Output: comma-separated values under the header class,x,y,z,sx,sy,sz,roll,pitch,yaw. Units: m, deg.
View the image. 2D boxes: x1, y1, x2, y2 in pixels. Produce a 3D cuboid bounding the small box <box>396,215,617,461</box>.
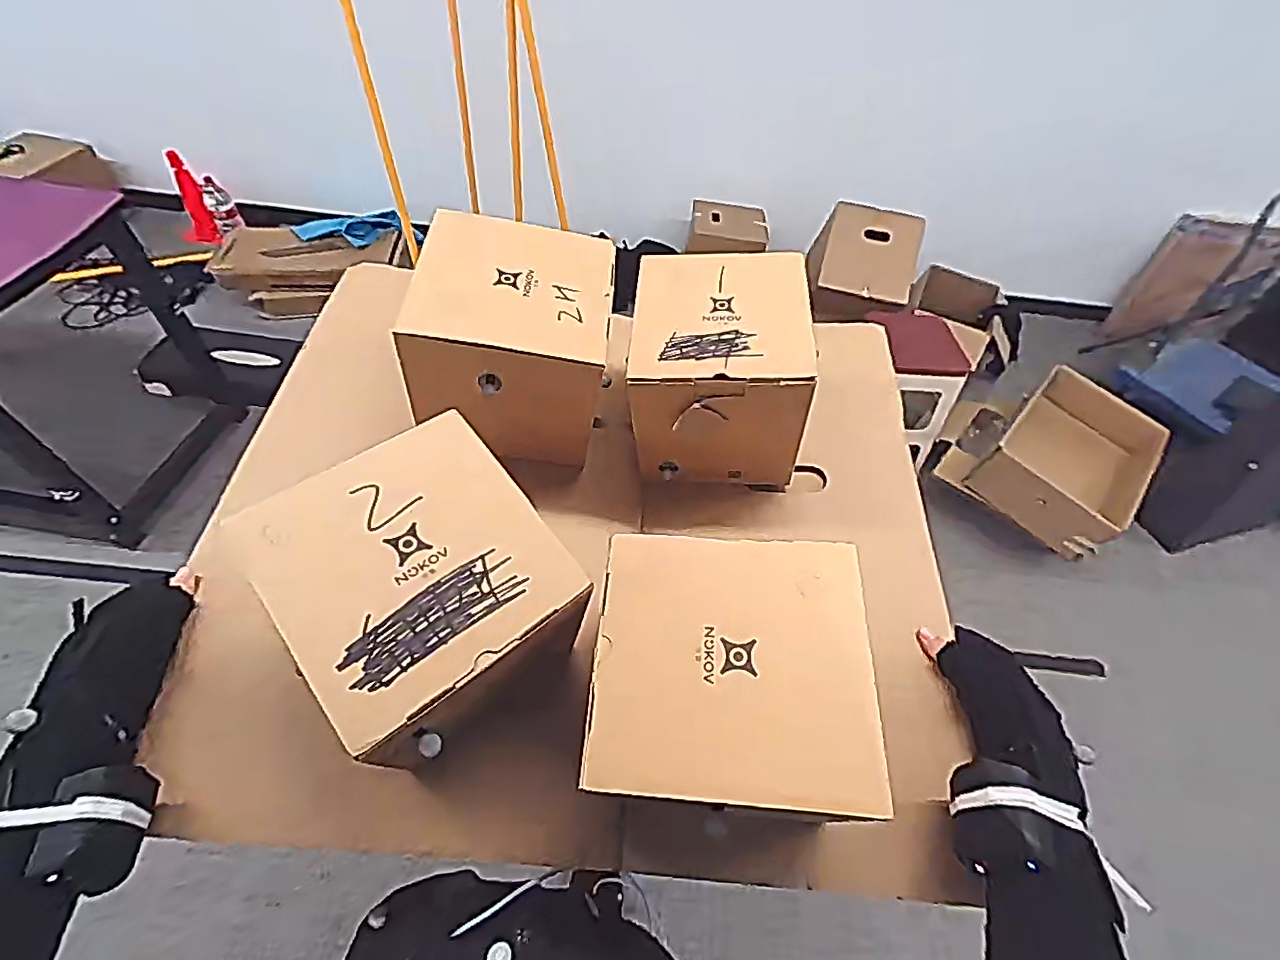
class,x,y,z,sx,sy,sz,roll,pitch,yaw
small box,-0.127,-0.136,0.560,0.179,0.176,0.168,8,59,-9
